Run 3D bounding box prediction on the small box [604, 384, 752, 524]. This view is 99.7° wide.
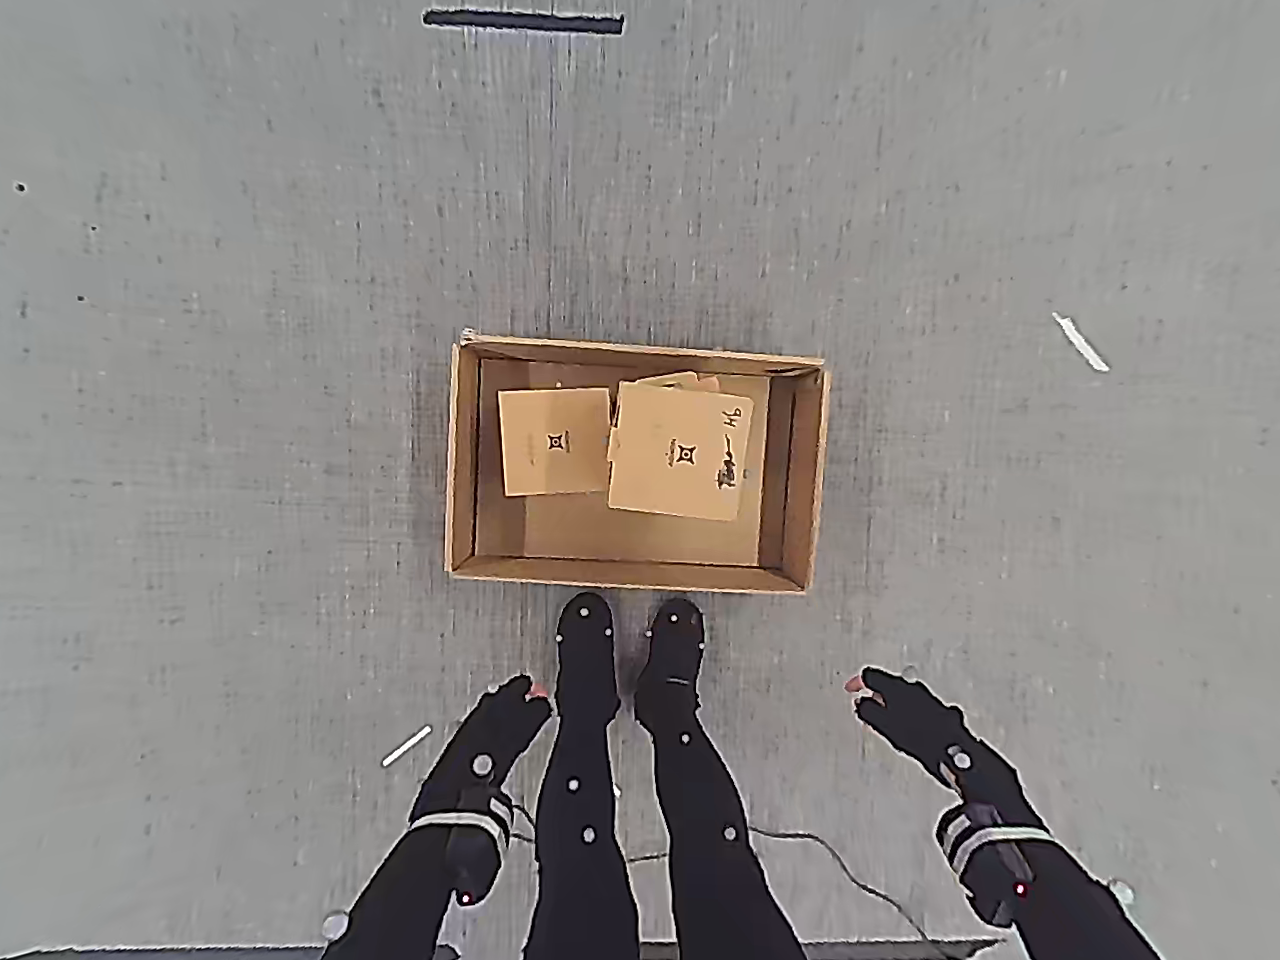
[{"bbox_3d":[0.047,-0.038,0.780,0.179,0.176,0.168,7,95,-3],"label":"small box"}]
